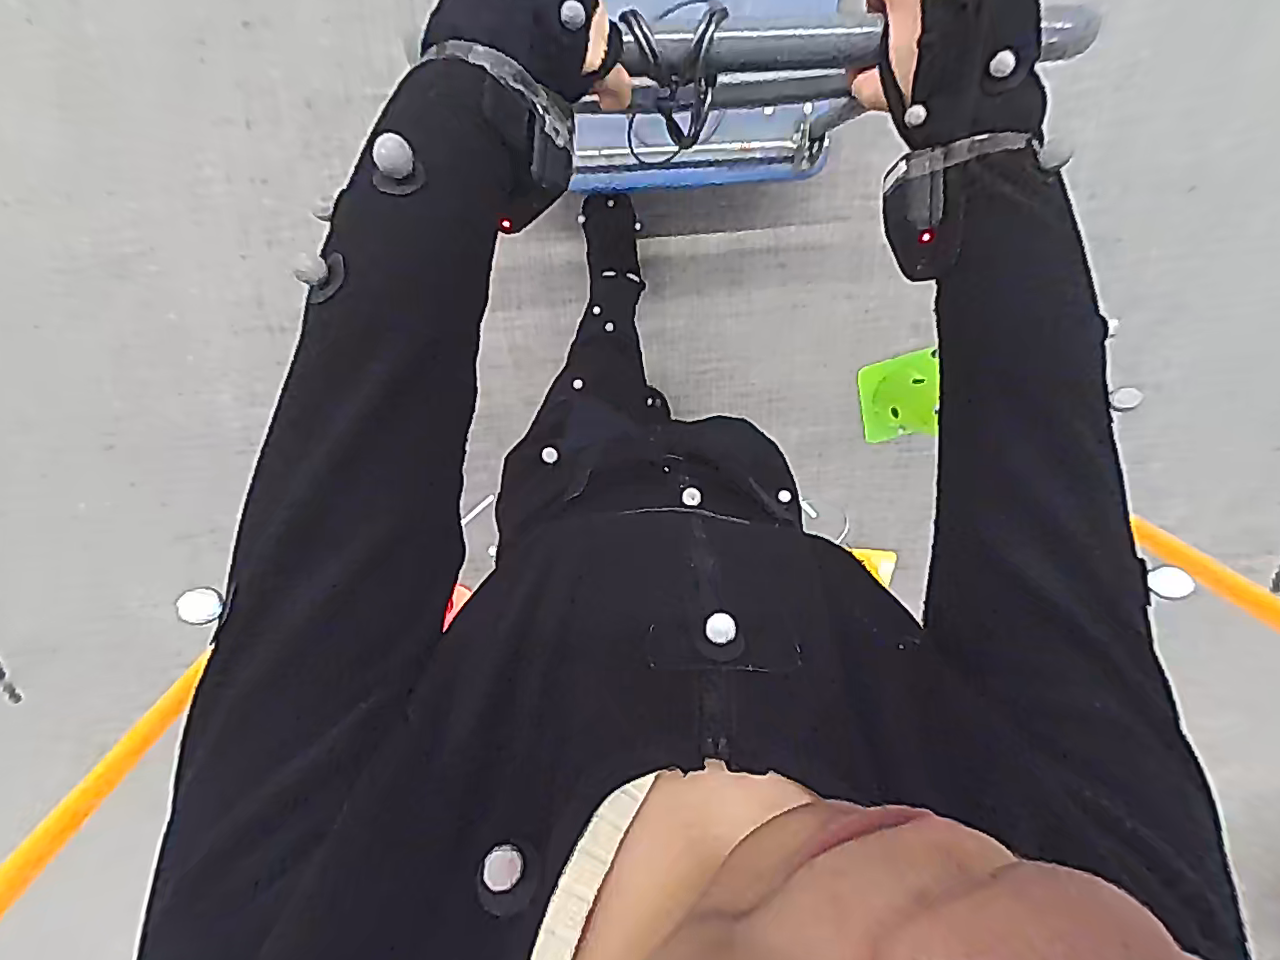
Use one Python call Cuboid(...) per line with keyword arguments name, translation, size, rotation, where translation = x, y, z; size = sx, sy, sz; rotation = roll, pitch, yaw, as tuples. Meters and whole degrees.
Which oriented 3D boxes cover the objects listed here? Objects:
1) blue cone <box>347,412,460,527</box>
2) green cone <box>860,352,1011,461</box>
Cuboid(name="blue cone", translation=(-0.532, -0.007, 1.170), size=(0.193, 0.380, 0.192), rotation=(10, 111, -6))
Cuboid(name="green cone", translation=(0.644, -0.126, 1.146), size=(0.200, 0.368, 0.202), rotation=(-17, 112, 5))
